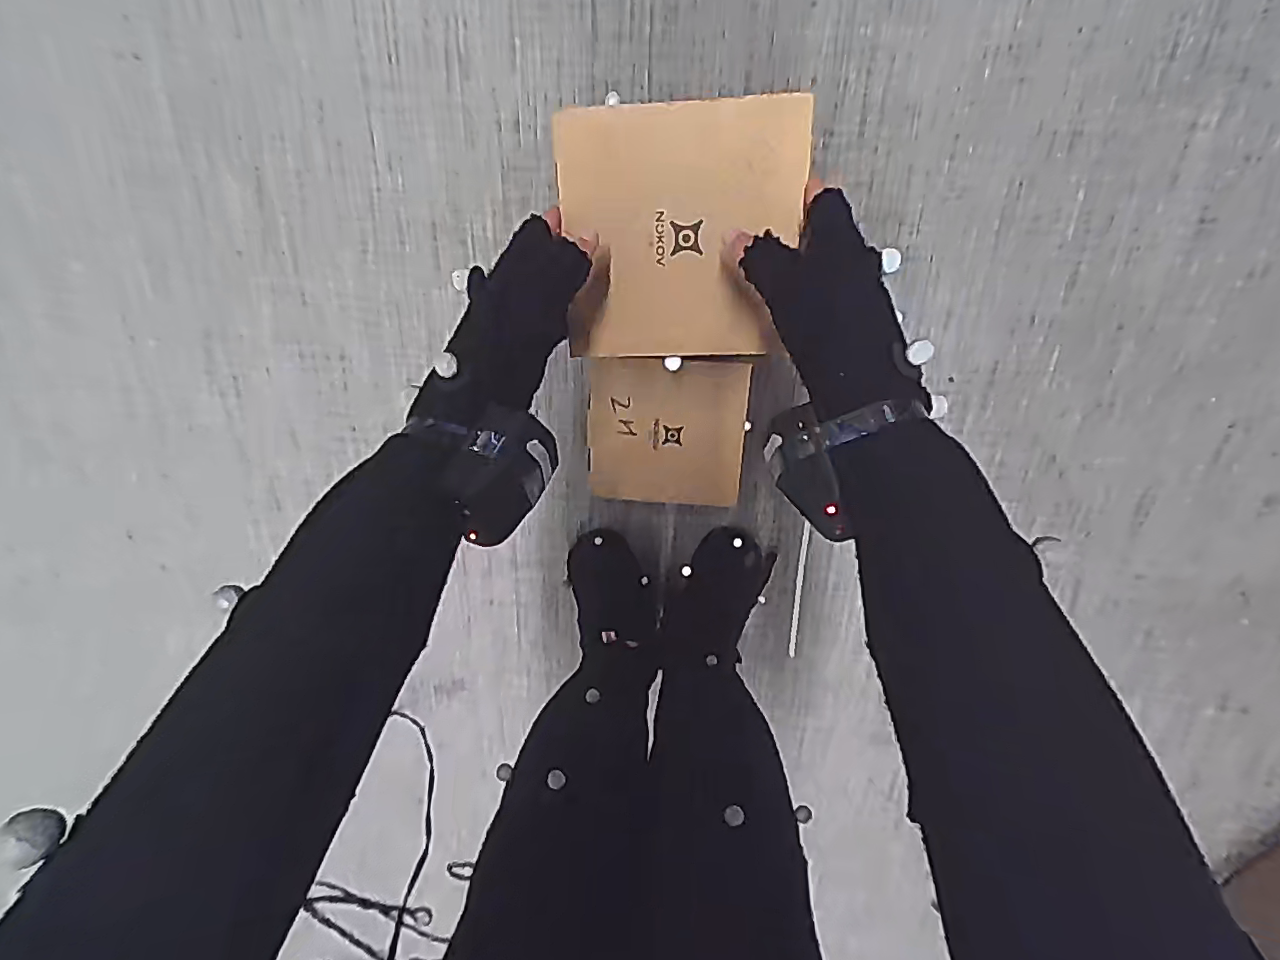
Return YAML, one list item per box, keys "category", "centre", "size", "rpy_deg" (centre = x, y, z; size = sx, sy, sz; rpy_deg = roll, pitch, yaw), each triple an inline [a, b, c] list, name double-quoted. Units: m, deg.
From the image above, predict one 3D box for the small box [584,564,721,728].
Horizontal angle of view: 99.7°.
- category: "small box"
  centre: [0.007, 0.247, 0.823]
  size: [0.168, 0.176, 0.179]
  rpy_deg: [5, 106, -12]

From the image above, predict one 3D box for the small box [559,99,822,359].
- category: "small box"
  centre: [0.042, -0.199, 0.457]
  size: [0.179, 0.176, 0.168]
  rpy_deg: [0, 111, 7]
